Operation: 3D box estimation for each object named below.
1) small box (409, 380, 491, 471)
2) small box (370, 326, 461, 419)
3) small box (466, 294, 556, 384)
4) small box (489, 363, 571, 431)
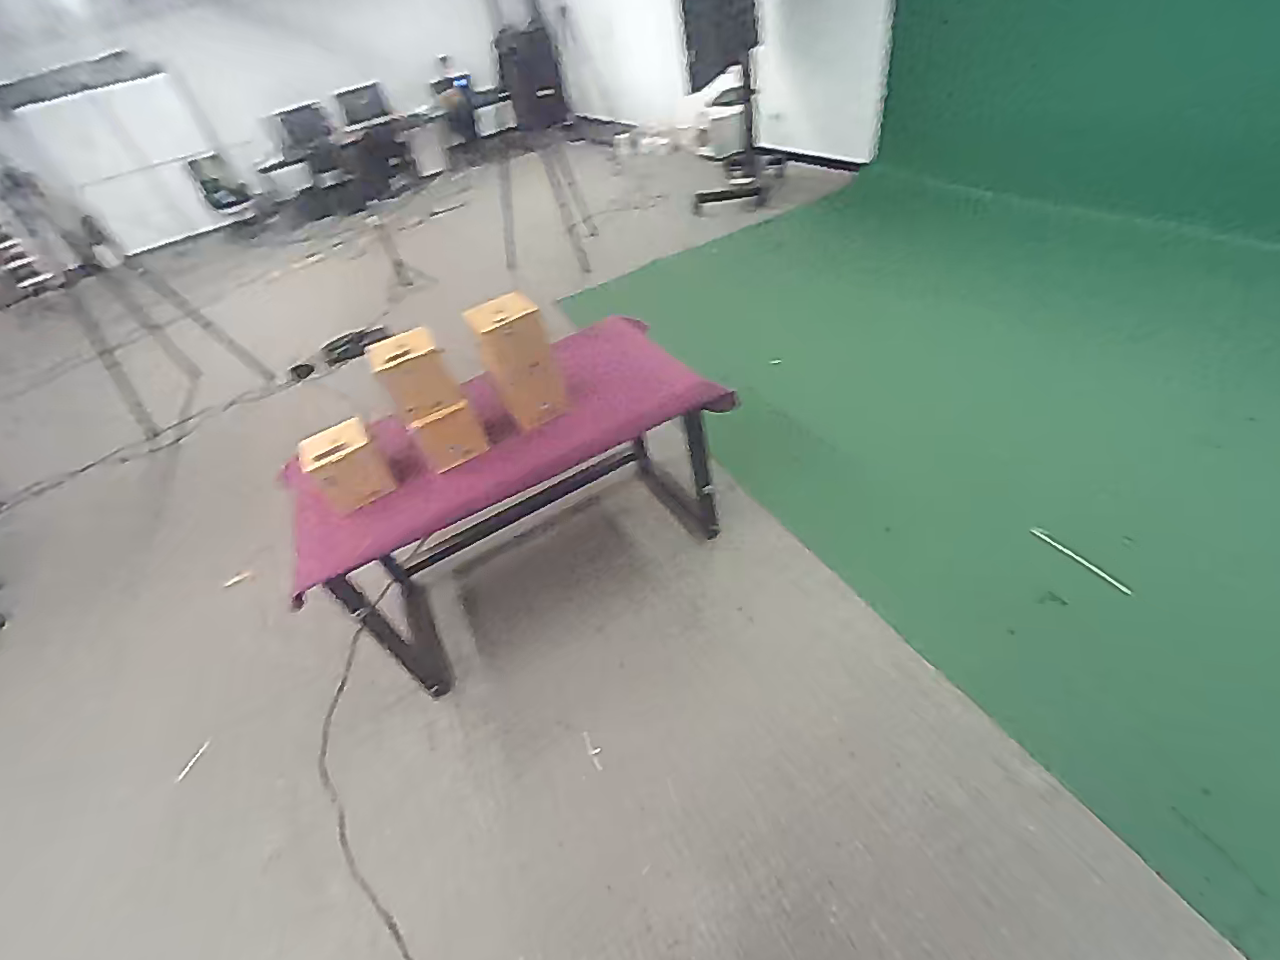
[{"bbox_3d":[-0.557,-0.156,1.563,0.168,0.176,0.179,-29,45,-15],"label":"small box"},{"bbox_3d":[-0.607,-0.288,1.472,0.168,0.176,0.179,-25,43,-12],"label":"small box"},{"bbox_3d":[-0.359,-0.395,1.517,0.168,0.176,0.179,-30,44,-16],"label":"small box"},{"bbox_3d":[-0.329,-0.276,1.626,0.168,0.176,0.179,-30,44,-16],"label":"small box"}]
